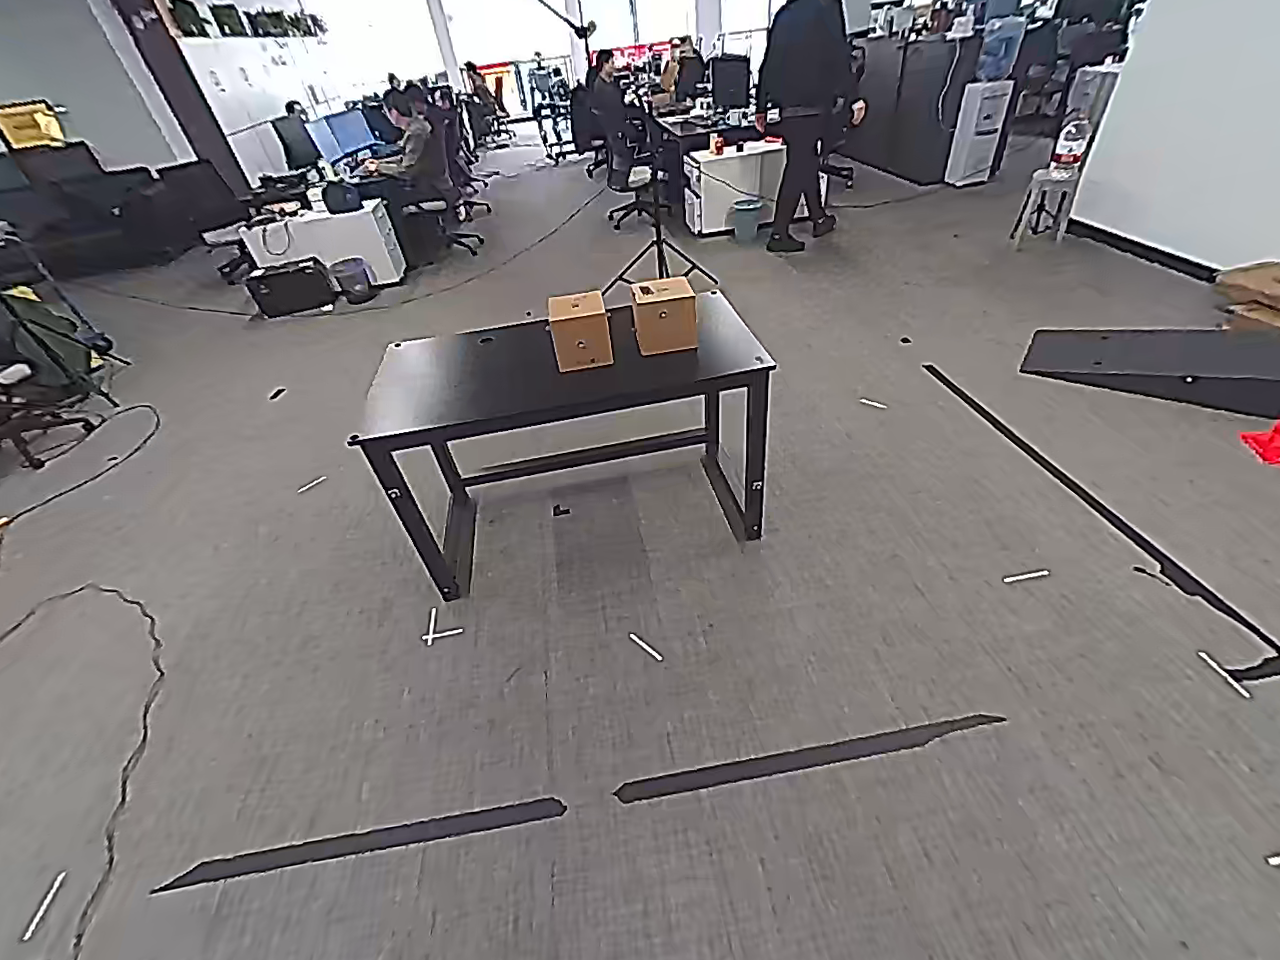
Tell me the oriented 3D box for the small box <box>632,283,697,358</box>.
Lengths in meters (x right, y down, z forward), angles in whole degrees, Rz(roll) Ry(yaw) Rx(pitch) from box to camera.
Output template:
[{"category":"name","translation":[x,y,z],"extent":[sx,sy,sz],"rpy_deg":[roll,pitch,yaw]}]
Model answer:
[{"category":"small box","translation":[0.078,-0.496,1.691],"extent":[0.179,0.176,0.168],"rpy_deg":[-9,40,-2]}]

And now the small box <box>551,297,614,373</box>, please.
[{"category":"small box","translation":[-0.177,-0.443,1.671],"extent":[0.168,0.176,0.179],"rpy_deg":[-9,40,-2]}]
